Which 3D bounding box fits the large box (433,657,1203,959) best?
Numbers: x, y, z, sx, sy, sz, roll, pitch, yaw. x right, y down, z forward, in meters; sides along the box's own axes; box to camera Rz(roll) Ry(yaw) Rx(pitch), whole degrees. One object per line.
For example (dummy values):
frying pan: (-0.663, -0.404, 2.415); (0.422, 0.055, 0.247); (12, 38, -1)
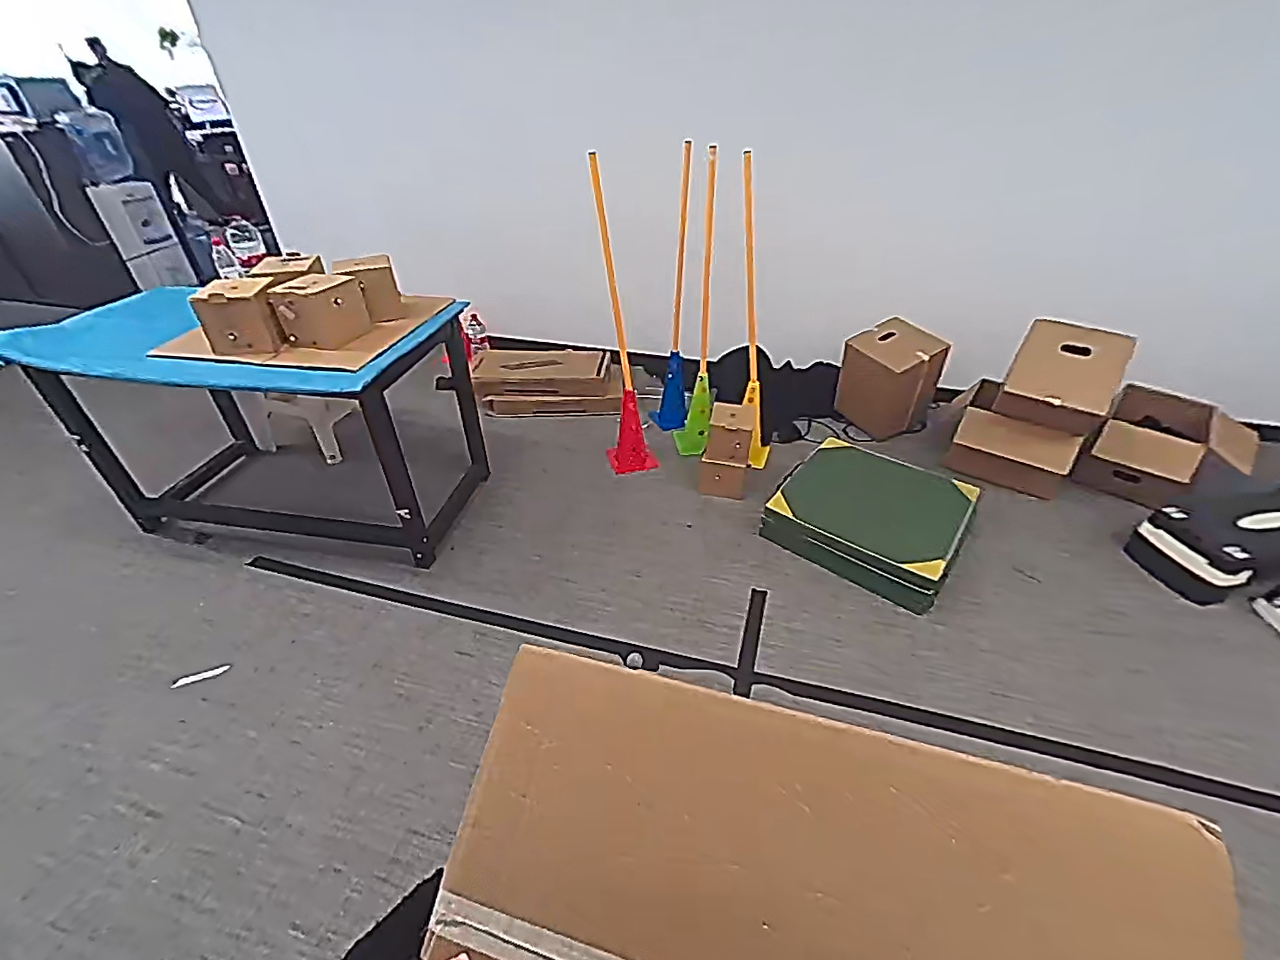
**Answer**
large box: (0.095, 0.355, 0.419); (0.408, 0.320, 0.320); (9, 67, 14)
